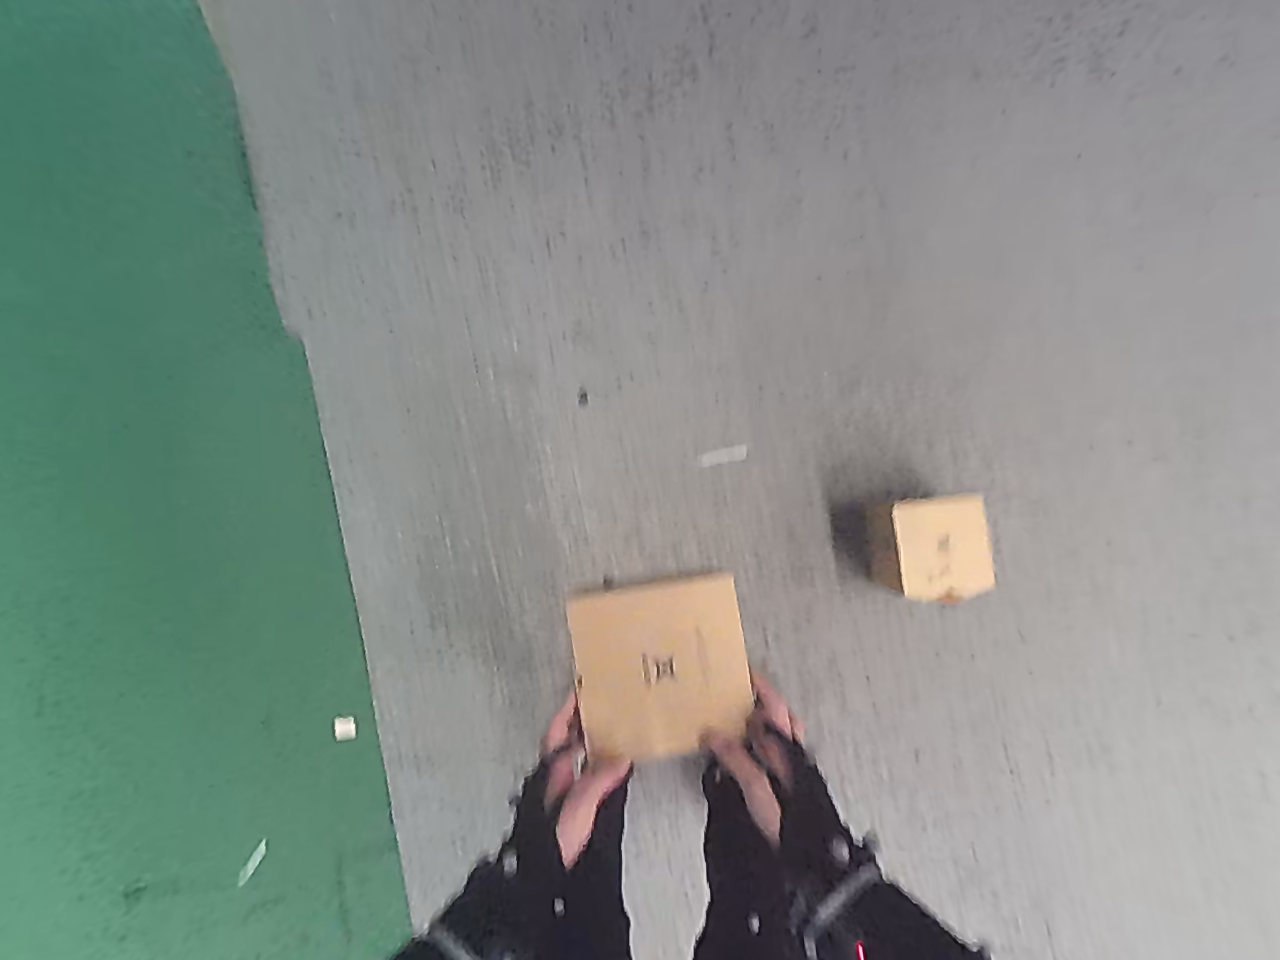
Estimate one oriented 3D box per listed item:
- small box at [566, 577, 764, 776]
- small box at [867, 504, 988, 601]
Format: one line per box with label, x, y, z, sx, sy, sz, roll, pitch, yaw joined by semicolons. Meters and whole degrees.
small box;0.024;0.202;0.603;0.179;0.176;0.168;-8;82;-2
small box;0.560;0.137;1.074;0.168;0.176;0.179;0;89;6
